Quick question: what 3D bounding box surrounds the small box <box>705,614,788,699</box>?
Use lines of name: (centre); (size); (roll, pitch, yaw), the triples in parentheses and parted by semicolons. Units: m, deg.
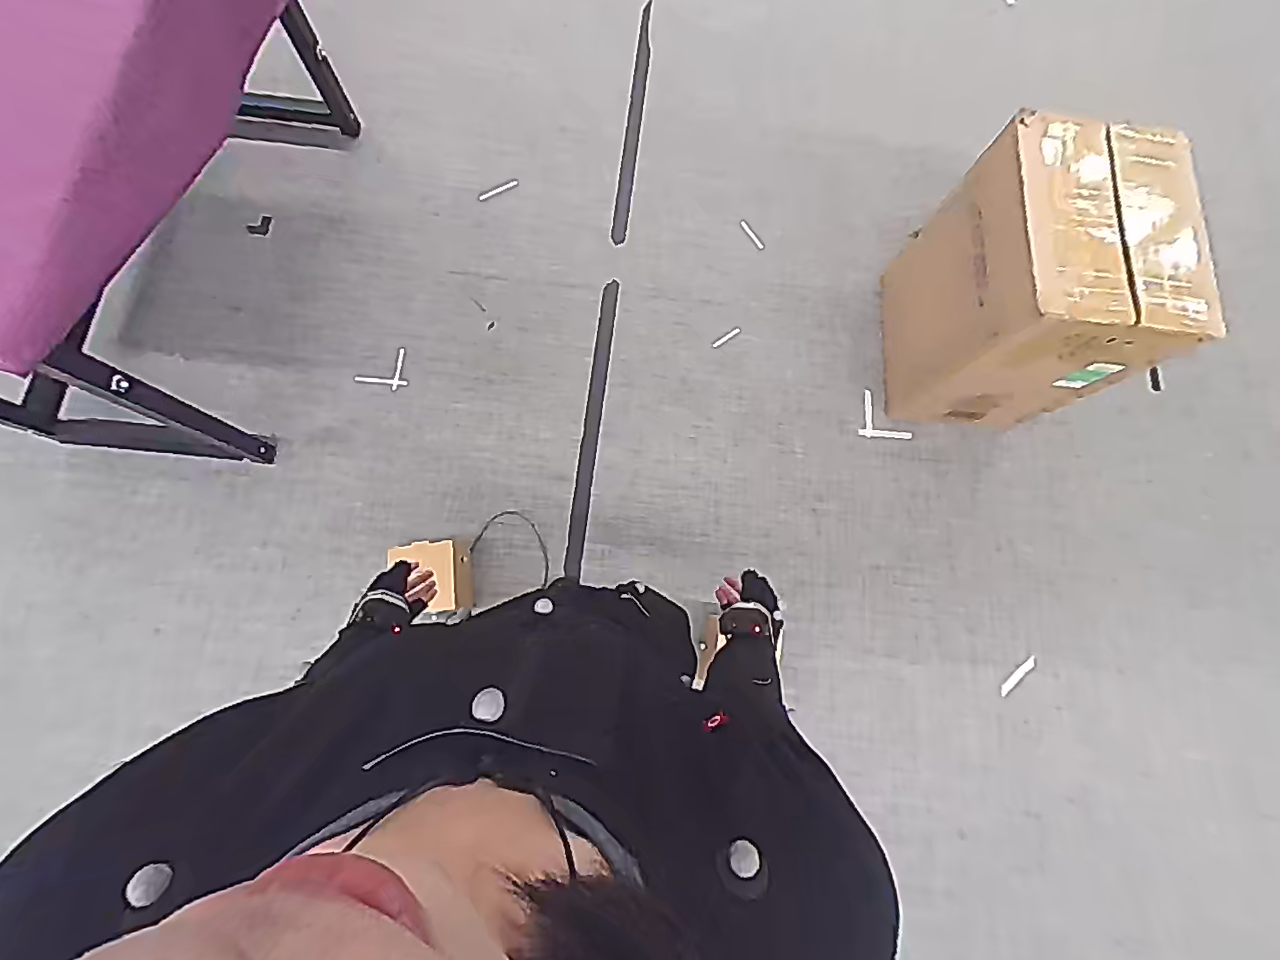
small box: (0.275, 0.460, 1.432); (0.168, 0.176, 0.179); (12, 77, -1)

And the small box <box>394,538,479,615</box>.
small box: (-0.532, 0.258, 1.427); (0.168, 0.176, 0.179); (-7, 78, -2)
